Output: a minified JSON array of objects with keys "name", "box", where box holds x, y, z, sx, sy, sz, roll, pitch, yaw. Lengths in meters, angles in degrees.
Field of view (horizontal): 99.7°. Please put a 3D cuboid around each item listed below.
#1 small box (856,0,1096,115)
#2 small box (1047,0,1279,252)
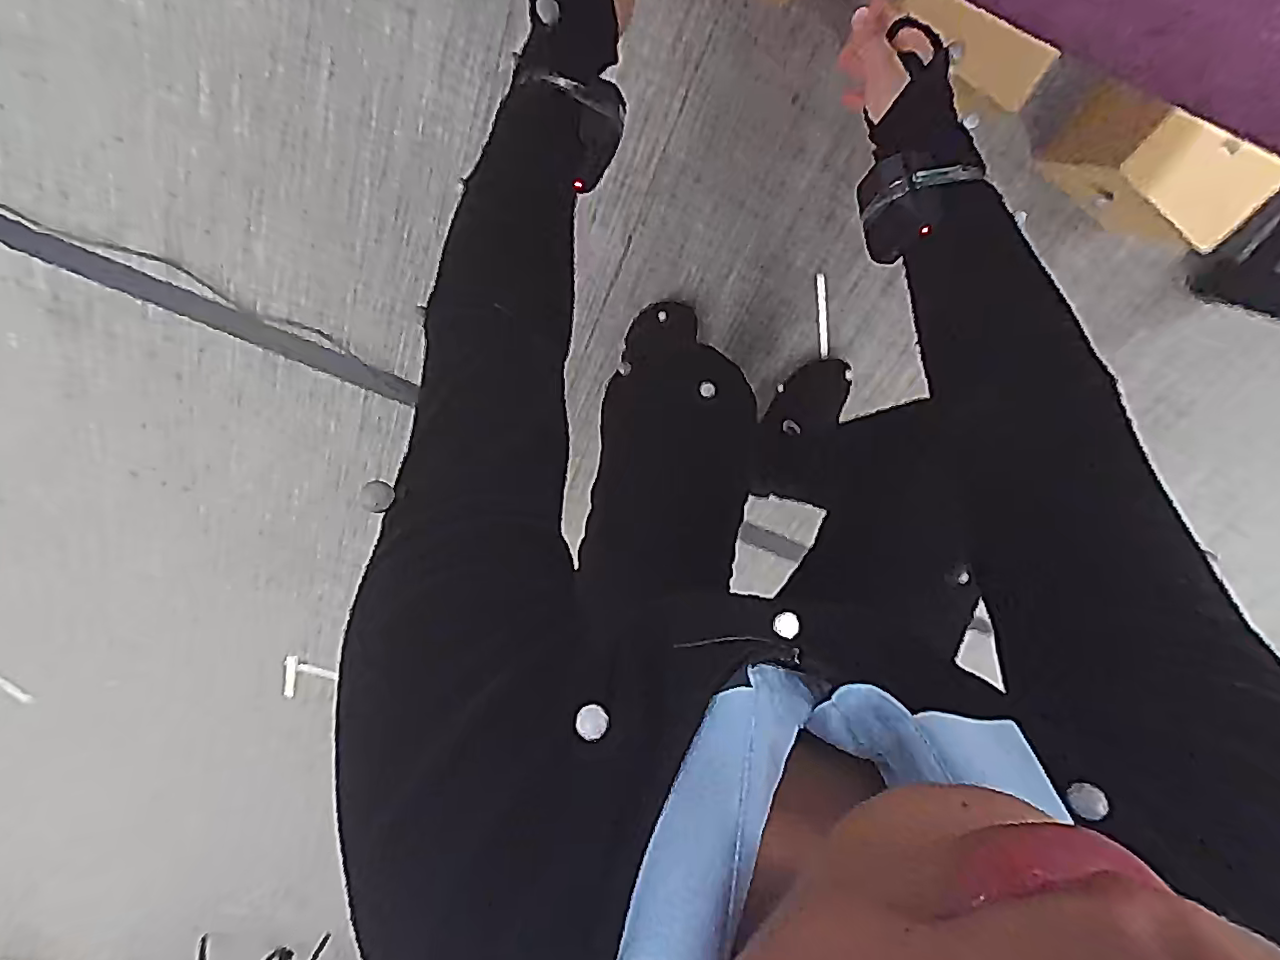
[{"name":"small box","box":[0.359,-0.521,0.578,0.168,0.176,0.179,22,120,-12]},{"name":"small box","box":[0.638,-0.406,0.643,0.168,0.176,0.179,29,118,-15]}]
